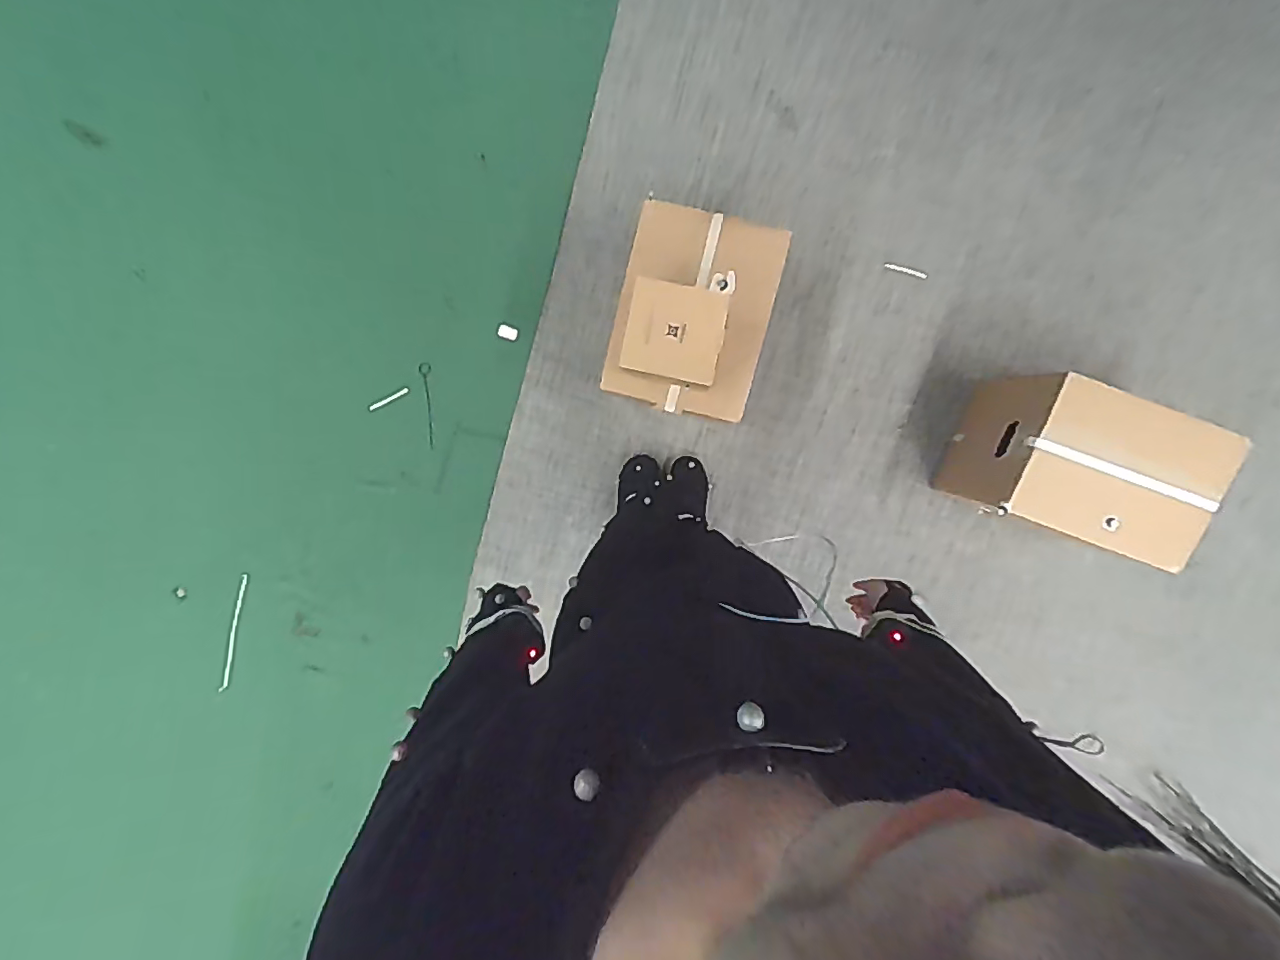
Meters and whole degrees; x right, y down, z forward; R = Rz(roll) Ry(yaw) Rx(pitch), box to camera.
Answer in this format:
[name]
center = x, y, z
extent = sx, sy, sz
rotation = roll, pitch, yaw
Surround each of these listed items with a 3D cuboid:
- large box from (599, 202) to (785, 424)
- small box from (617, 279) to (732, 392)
[large box]
center = 0.112, -0.359, 1.273
extent = 0.320, 0.320, 0.408
rotation = 15, 96, 1
[small box]
center = 0.066, -0.267, 1.039
extent = 0.179, 0.176, 0.168
rotation = 14, 96, 3
